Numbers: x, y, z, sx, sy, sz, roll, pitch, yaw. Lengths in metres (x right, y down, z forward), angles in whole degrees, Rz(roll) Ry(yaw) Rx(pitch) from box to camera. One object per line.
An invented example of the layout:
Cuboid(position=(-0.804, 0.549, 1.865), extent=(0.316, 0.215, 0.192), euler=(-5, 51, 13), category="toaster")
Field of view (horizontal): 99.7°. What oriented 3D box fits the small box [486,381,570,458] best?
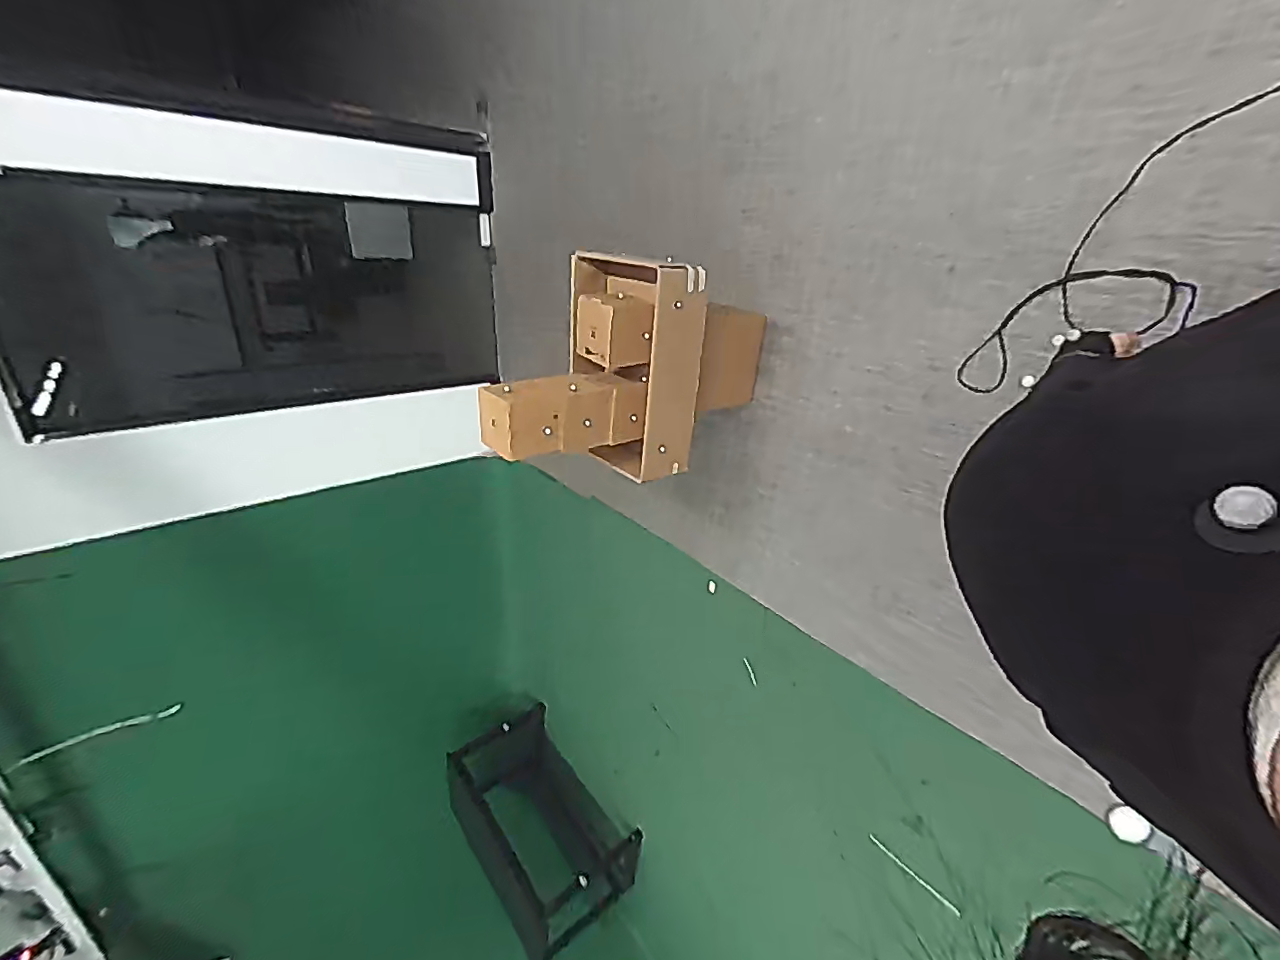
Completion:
Cuboid(position=(-0.312, -0.175, 1.506), extent=(0.179, 0.176, 0.168), euler=(28, 124, 43), category="small box")
